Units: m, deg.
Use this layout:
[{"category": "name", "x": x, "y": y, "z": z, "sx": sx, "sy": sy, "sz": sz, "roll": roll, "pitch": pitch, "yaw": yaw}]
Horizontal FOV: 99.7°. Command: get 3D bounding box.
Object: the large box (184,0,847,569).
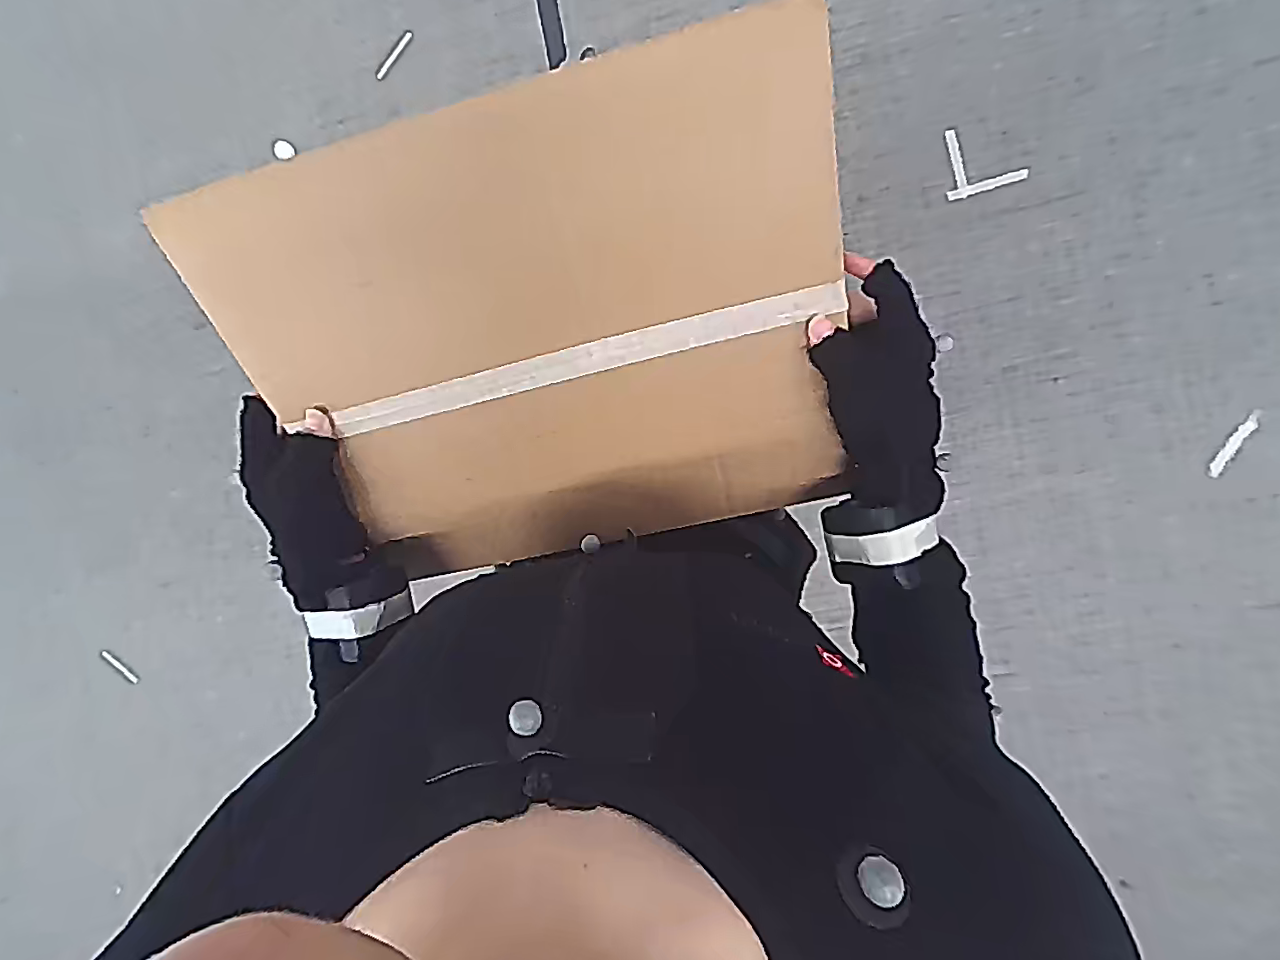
[{"category": "large box", "x": -0.062, "y": -0.163, "z": 0.513, "sx": 0.408, "sy": 0.320, "sz": 0.320, "roll": -12, "pitch": 122, "yaw": 8}]
